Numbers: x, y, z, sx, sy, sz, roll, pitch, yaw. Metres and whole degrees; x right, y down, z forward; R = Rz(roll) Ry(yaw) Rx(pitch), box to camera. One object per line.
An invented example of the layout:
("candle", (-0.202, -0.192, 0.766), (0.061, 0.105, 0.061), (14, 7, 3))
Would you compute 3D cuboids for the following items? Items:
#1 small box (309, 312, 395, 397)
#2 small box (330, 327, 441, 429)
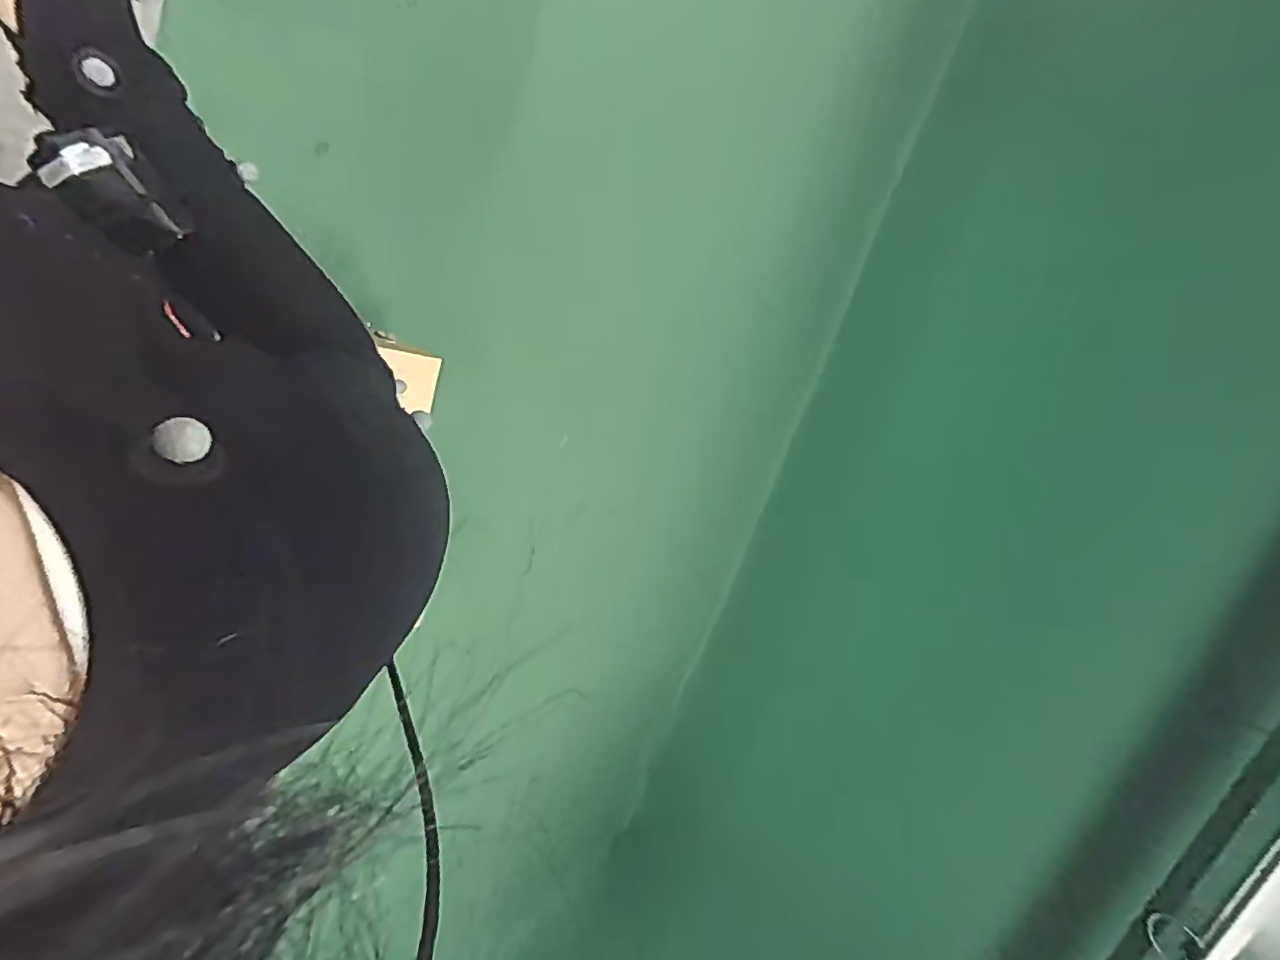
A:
("small box", (-0.695, -0.293, 1.345), (0.168, 0.176, 0.179), (13, 102, -53))
("small box", (-0.587, -0.232, 1.239), (0.168, 0.176, 0.179), (0, 112, -51))
